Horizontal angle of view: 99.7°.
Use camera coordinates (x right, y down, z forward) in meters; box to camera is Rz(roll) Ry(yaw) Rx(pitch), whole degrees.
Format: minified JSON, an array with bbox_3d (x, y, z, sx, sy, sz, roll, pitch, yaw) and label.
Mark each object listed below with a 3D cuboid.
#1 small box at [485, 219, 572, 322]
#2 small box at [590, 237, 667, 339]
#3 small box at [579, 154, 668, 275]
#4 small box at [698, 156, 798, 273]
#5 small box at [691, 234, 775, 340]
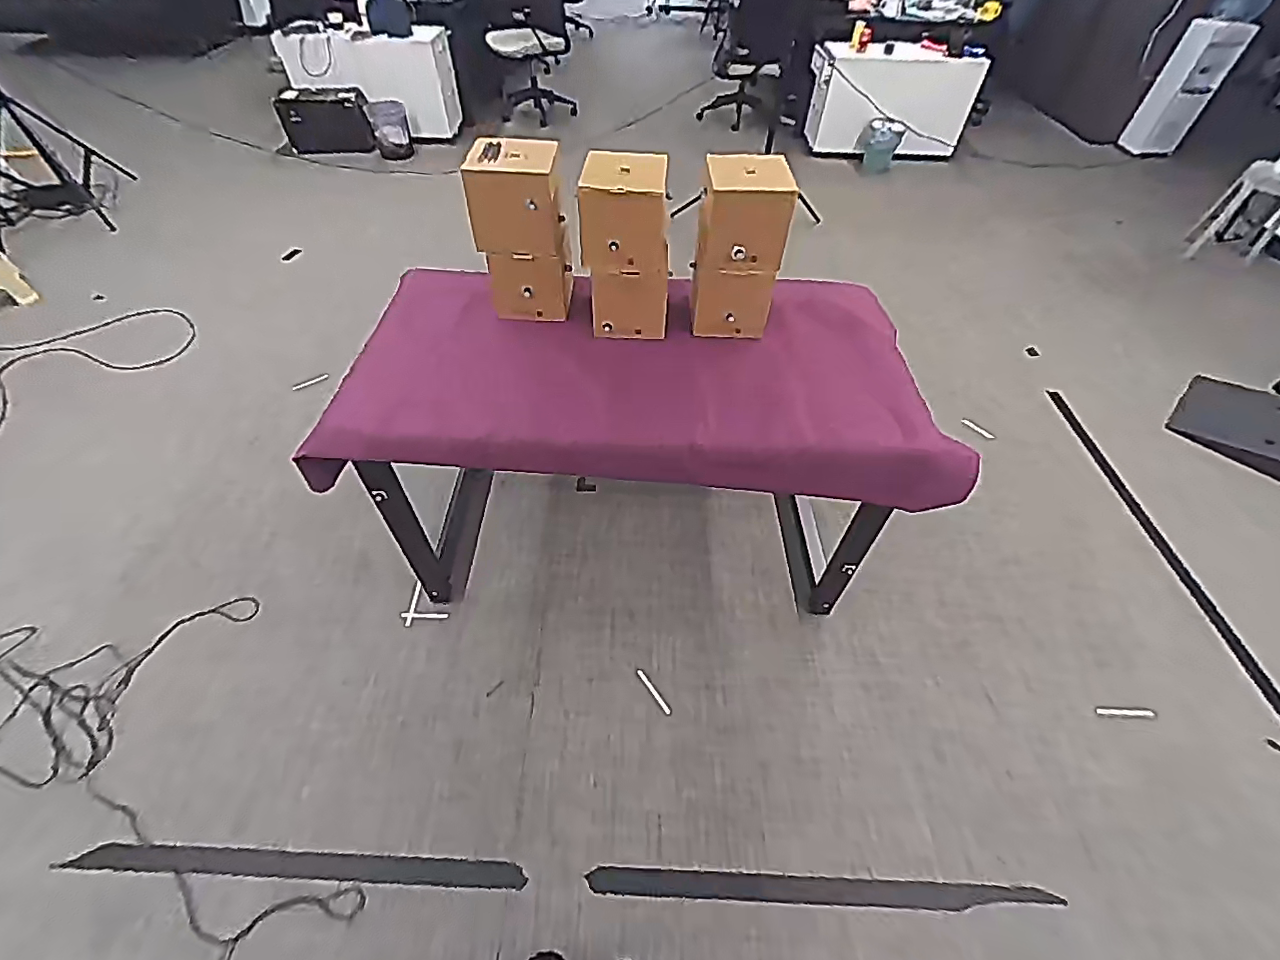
[{"bbox_3d":[-0.254,-0.494,1.285,0.168,0.176,0.179,2,52,0],"label":"small box"},{"bbox_3d":[-0.023,-0.444,1.251,0.168,0.176,0.179,2,50,0],"label":"small box"},{"bbox_3d":[-0.033,-0.552,1.130,0.168,0.176,0.179,4,52,1],"label":"small box"},{"bbox_3d":[0.218,-0.559,1.143,0.168,0.176,0.179,-1,51,-1],"label":"small box"},{"bbox_3d":[0.208,-0.452,1.265,0.168,0.176,0.179,2,51,0],"label":"small box"}]
